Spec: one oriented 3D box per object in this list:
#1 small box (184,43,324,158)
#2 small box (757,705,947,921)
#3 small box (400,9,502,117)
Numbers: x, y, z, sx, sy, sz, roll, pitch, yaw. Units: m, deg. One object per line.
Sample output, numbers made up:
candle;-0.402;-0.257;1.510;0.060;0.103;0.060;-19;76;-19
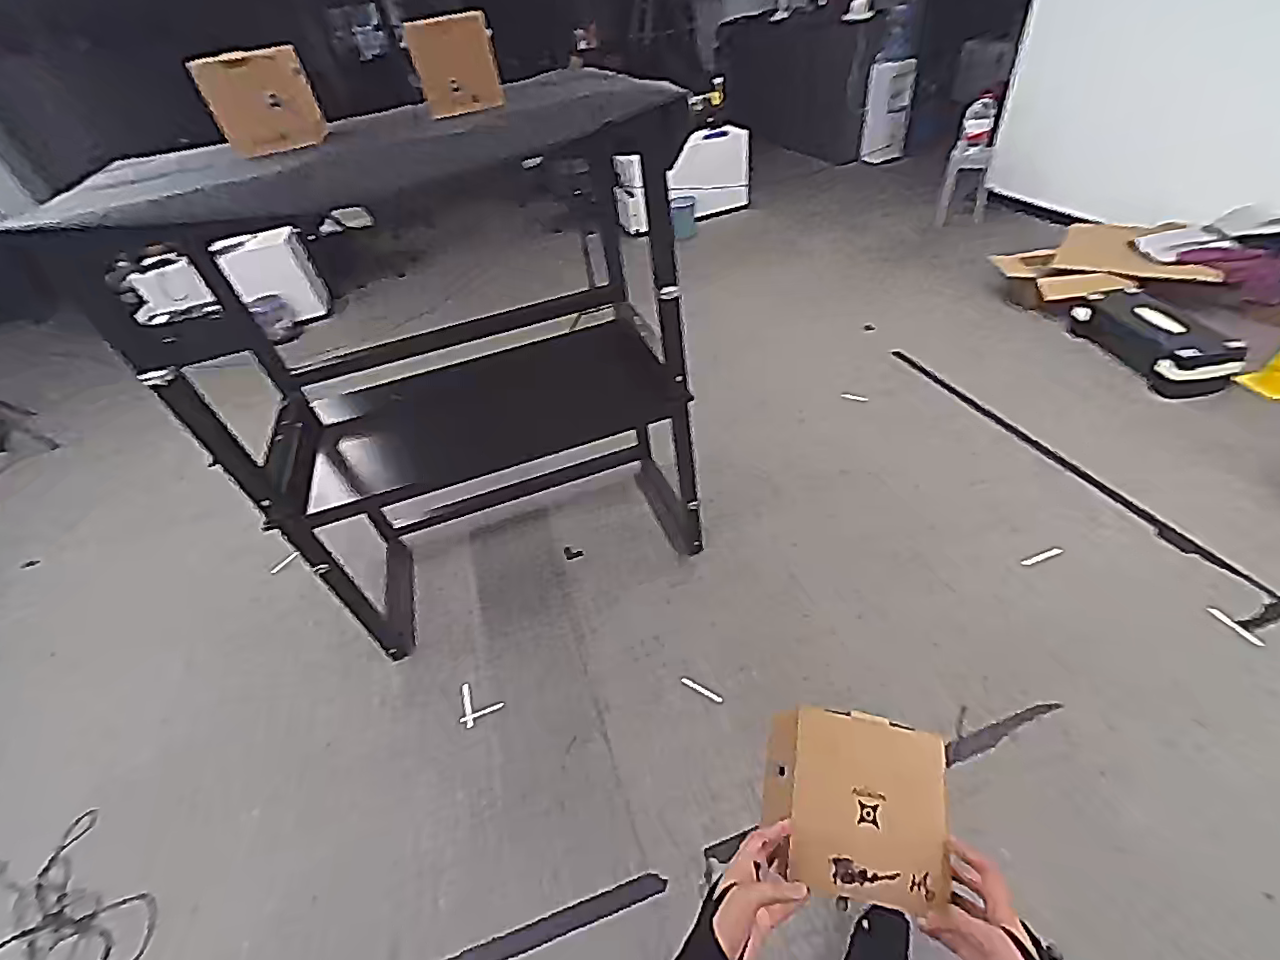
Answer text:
small box;-0.802;-0.802;1.148;0.168;0.176;0.179;-16;44;-7
small box;0.243;0.388;0.655;0.168;0.176;0.179;10;63;5
small box;-0.422;-0.934;1.213;0.168;0.176;0.179;-18;44;-8
